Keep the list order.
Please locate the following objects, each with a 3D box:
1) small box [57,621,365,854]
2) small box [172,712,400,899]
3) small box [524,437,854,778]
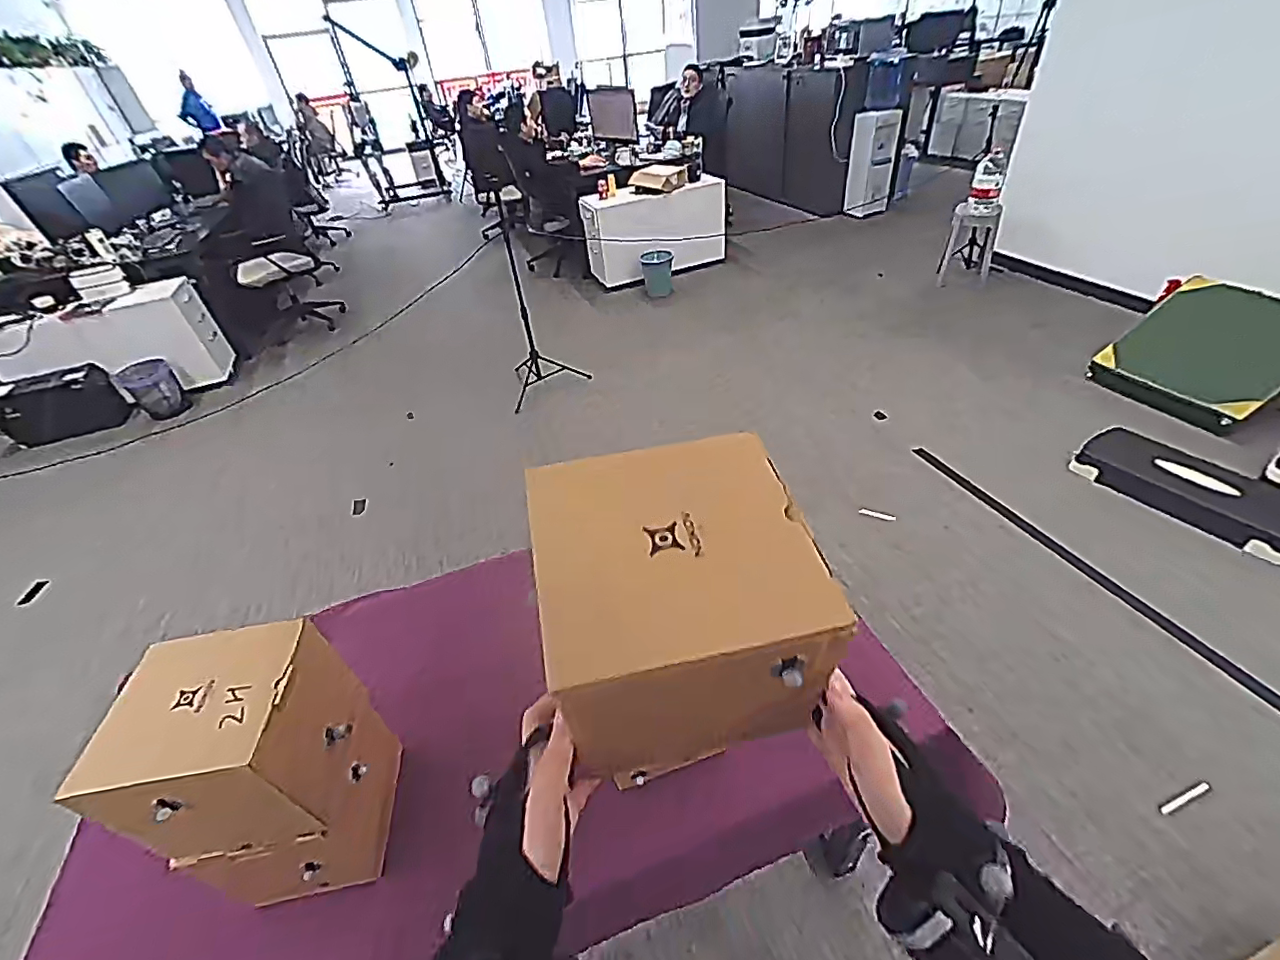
[{"bbox_3d":[-0.443,0.286,0.600,0.179,0.176,0.168,-9,41,-3],"label":"small box"},{"bbox_3d":[-0.433,0.413,0.703,0.168,0.176,0.179,-10,39,-4],"label":"small box"},{"bbox_3d":[0.022,0.095,0.398,0.179,0.176,0.168,-10,48,-8],"label":"small box"}]
